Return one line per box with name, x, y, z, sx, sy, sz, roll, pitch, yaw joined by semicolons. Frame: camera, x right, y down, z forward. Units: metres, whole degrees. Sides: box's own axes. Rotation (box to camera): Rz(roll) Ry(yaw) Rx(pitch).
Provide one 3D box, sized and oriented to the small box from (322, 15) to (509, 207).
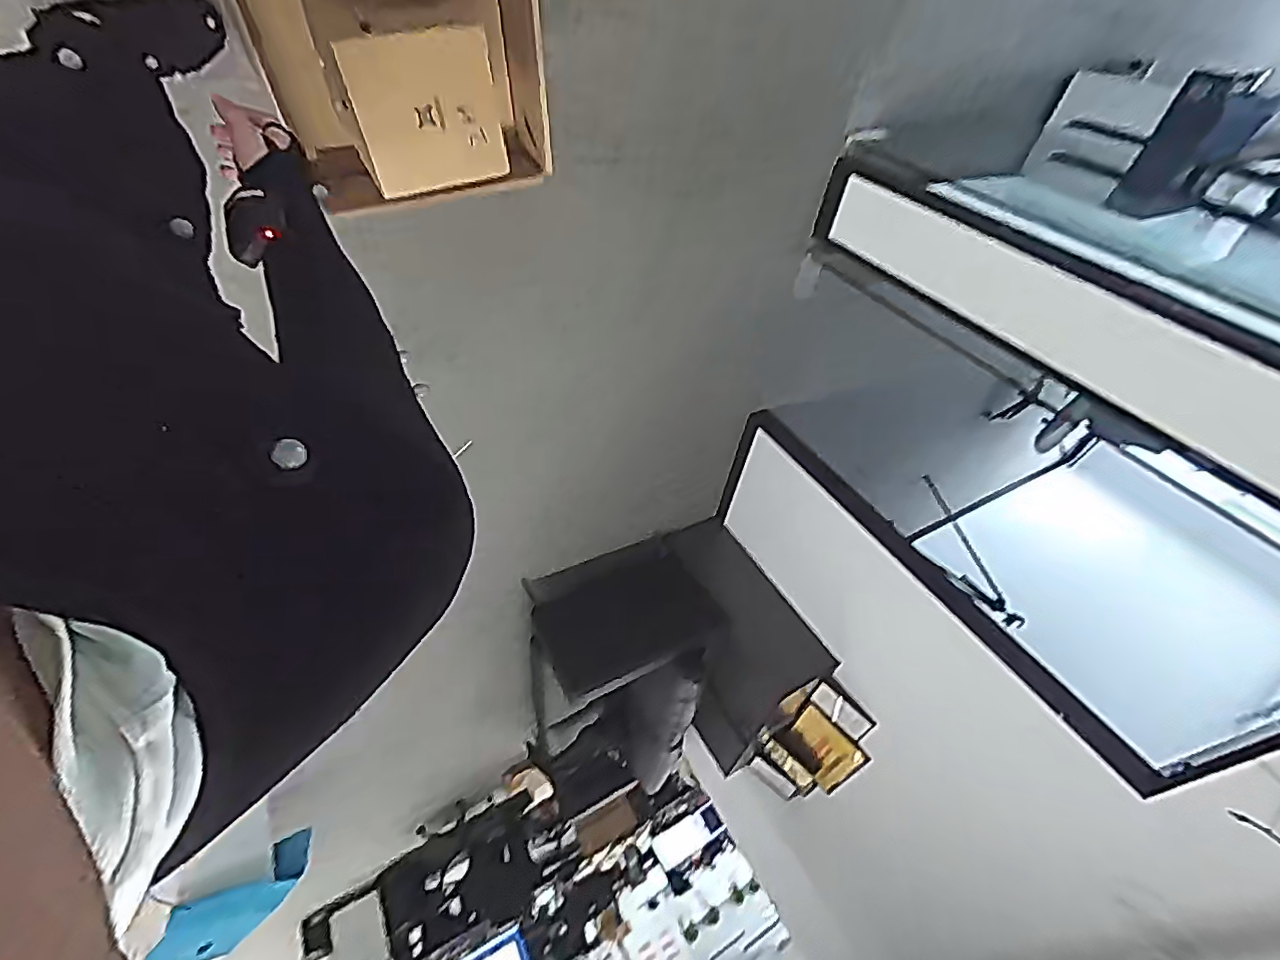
small box;-0.296;-0.491;0.716;0.179;0.176;0.168;-24;144;-19
